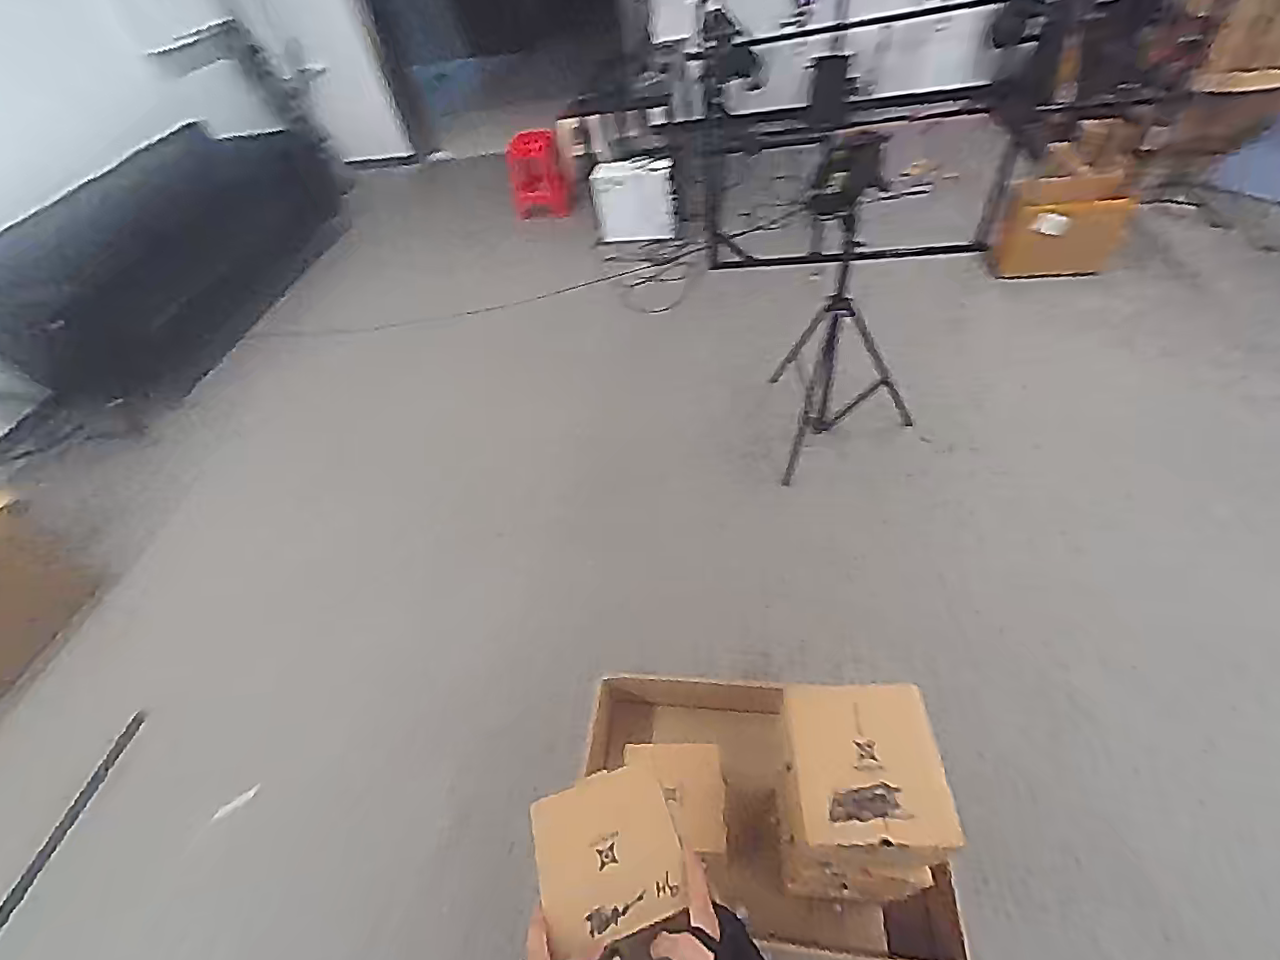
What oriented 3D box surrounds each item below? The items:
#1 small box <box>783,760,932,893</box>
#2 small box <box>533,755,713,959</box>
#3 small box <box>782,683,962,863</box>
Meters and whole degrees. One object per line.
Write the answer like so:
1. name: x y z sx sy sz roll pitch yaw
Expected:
1. small box: 0.307 0.494 0.807 0.168 0.176 0.179 -2 50 10
2. small box: -0.023 0.491 0.669 0.168 0.176 0.179 -19 32 -8
3. small box: 0.278 0.378 0.694 0.168 0.176 0.179 -4 48 8
